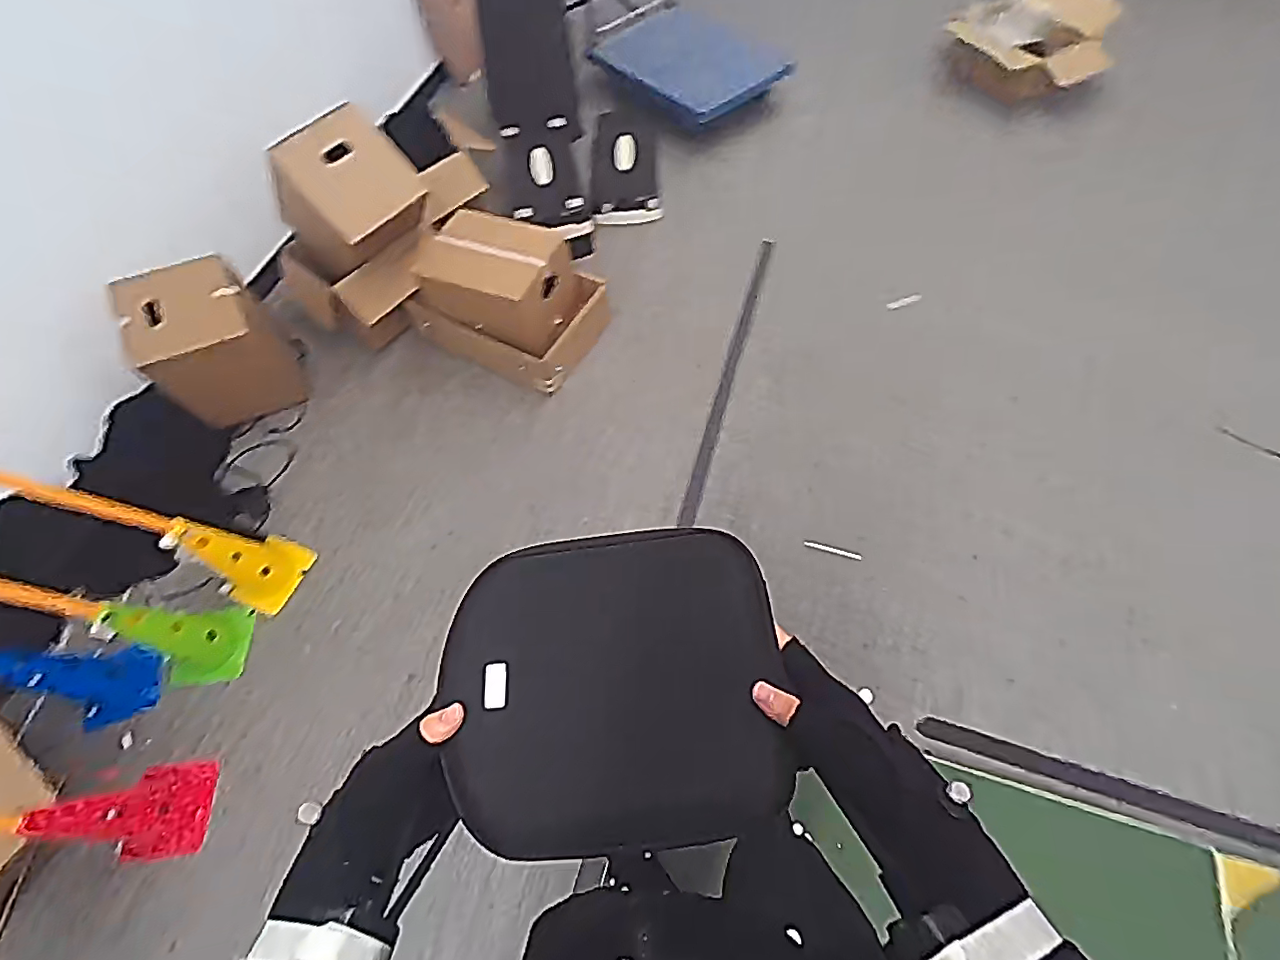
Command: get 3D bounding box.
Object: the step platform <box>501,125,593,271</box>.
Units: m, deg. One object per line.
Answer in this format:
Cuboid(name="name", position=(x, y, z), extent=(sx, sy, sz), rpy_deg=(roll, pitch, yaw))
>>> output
Cuboid(name="step platform", position=(-0.393, -1.183, 2.232), extent=(0.286, 0.204, 0.684), rpy_deg=(-13, 62, -2))
